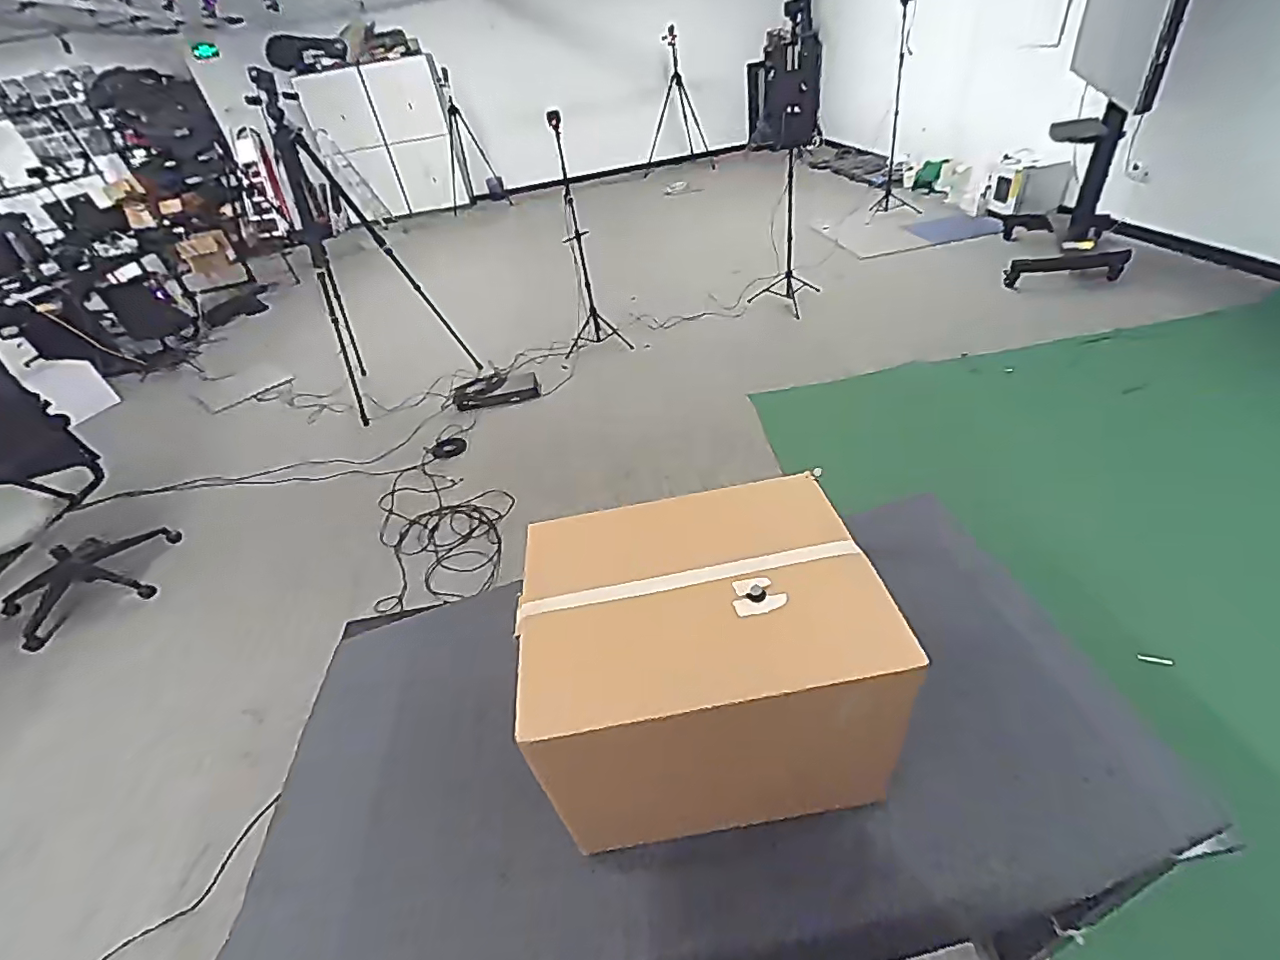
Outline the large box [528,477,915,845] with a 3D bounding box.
[{"bbox_3d":[0.082,0.239,0.740,0.408,0.320,0.320,-10,39,-1],"label":"large box"}]
